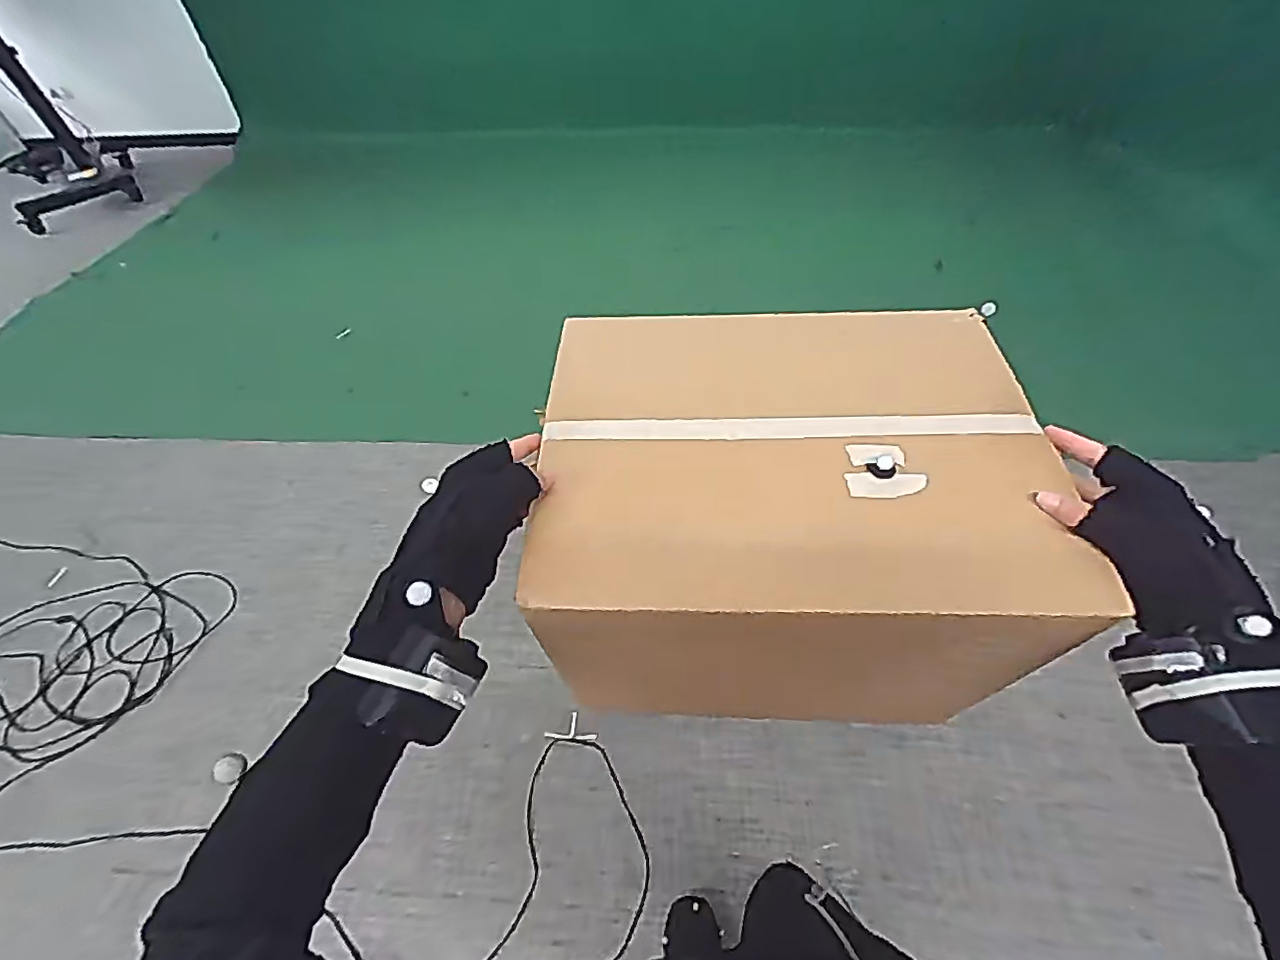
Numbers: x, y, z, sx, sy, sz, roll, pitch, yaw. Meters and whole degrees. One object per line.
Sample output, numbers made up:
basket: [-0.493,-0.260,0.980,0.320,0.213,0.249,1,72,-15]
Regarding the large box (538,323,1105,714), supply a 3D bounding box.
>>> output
large box: [0.130,0.054,0.584,0.408,0.320,0.320,0,54,3]
